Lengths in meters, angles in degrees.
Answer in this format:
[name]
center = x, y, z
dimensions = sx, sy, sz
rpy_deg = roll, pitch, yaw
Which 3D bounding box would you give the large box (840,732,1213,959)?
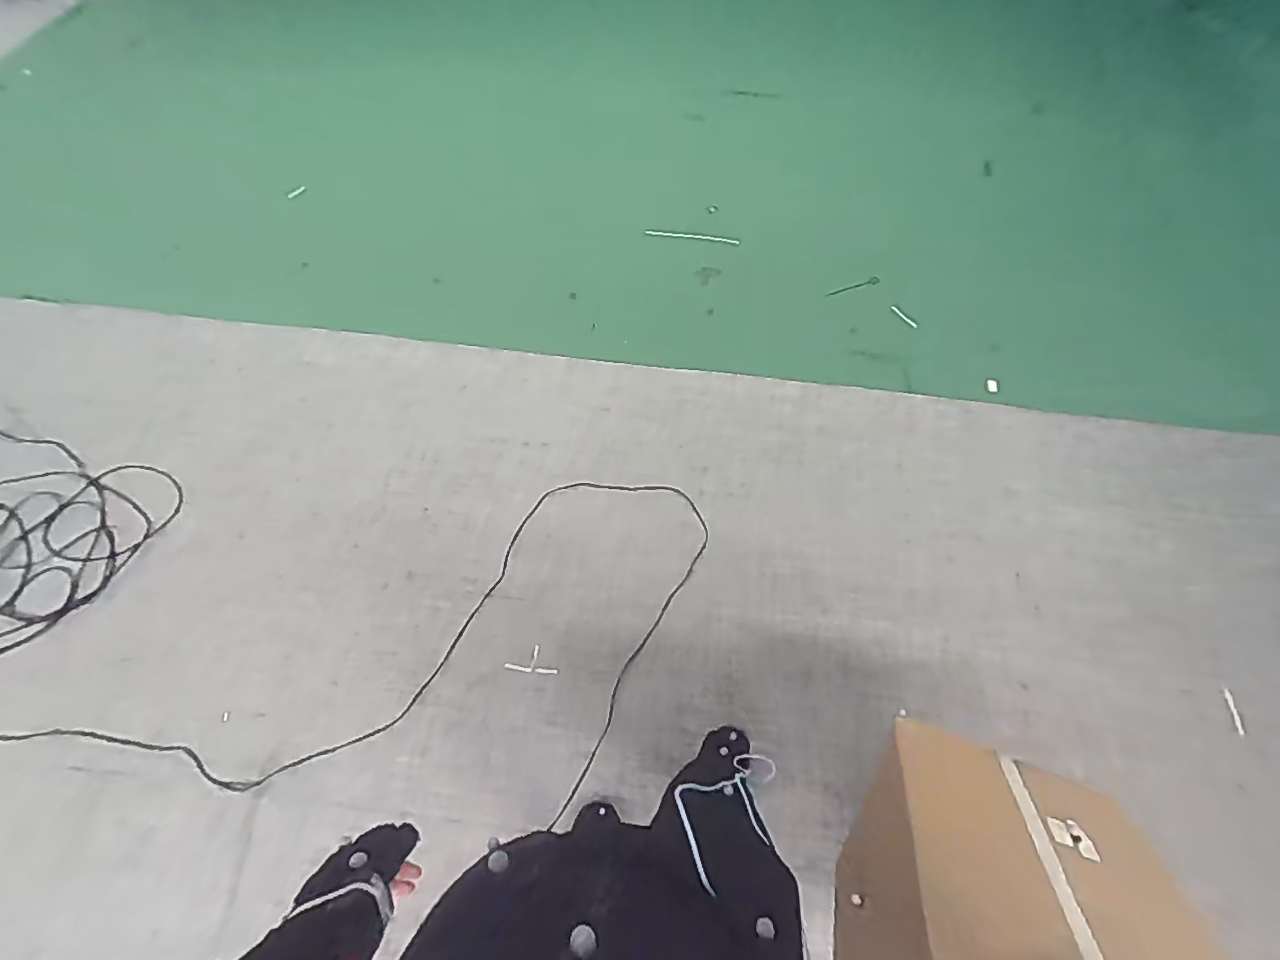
[large box]
center = 0.446, 0.611, 0.665
dimensions = 0.320, 0.408, 0.320
rpy_deg = 18, 104, 17
